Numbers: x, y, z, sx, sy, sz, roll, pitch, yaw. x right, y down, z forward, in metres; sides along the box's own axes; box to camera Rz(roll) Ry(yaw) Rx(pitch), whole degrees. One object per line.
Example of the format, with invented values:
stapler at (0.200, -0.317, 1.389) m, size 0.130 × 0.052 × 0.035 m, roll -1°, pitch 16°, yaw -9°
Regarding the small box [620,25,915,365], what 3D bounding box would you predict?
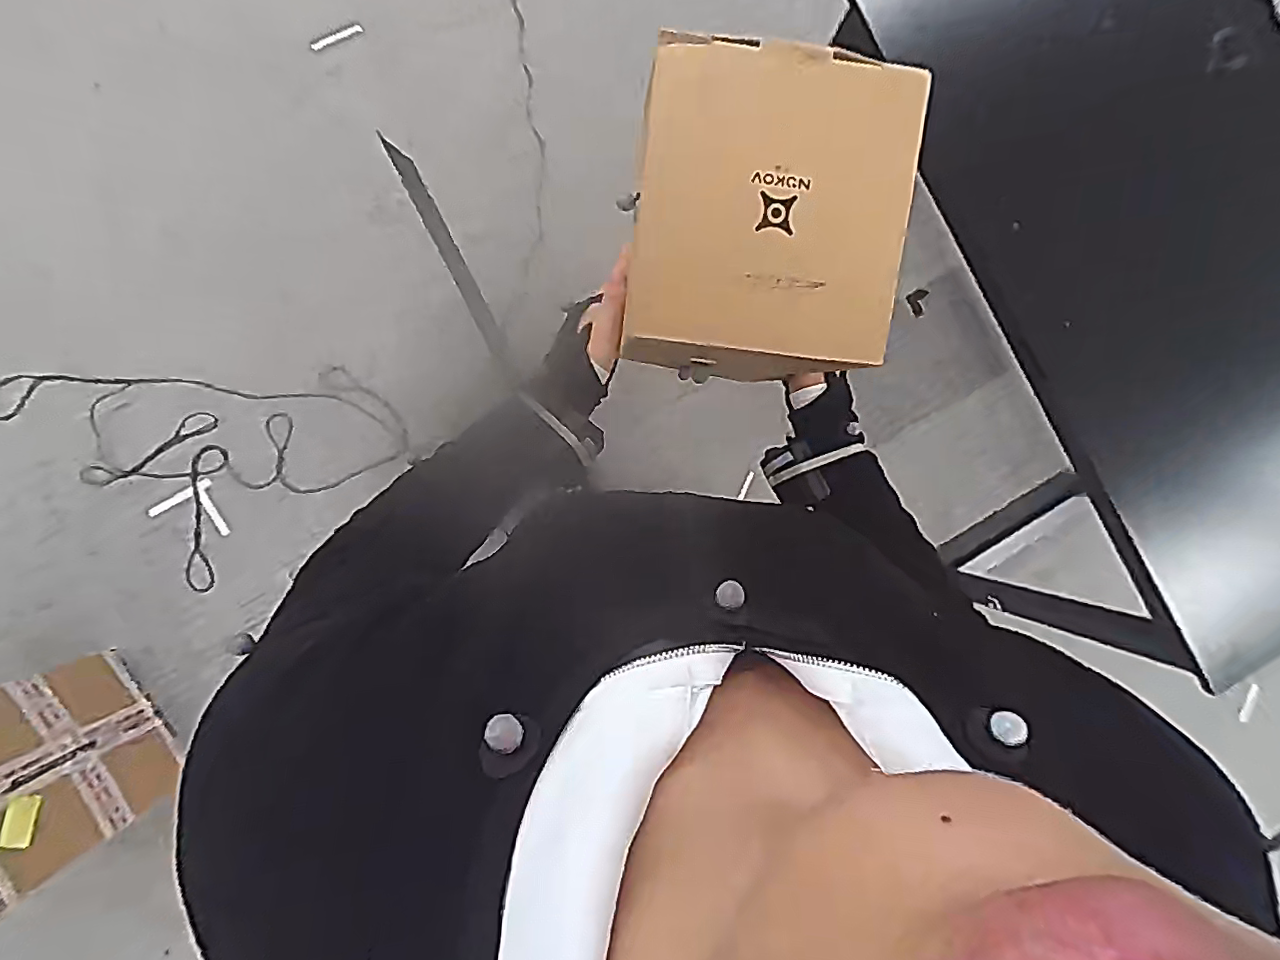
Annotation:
small box at (0.074, -0.187, 0.413) m, size 0.168 × 0.176 × 0.179 m, roll 5°, pitch 100°, yaw -4°
